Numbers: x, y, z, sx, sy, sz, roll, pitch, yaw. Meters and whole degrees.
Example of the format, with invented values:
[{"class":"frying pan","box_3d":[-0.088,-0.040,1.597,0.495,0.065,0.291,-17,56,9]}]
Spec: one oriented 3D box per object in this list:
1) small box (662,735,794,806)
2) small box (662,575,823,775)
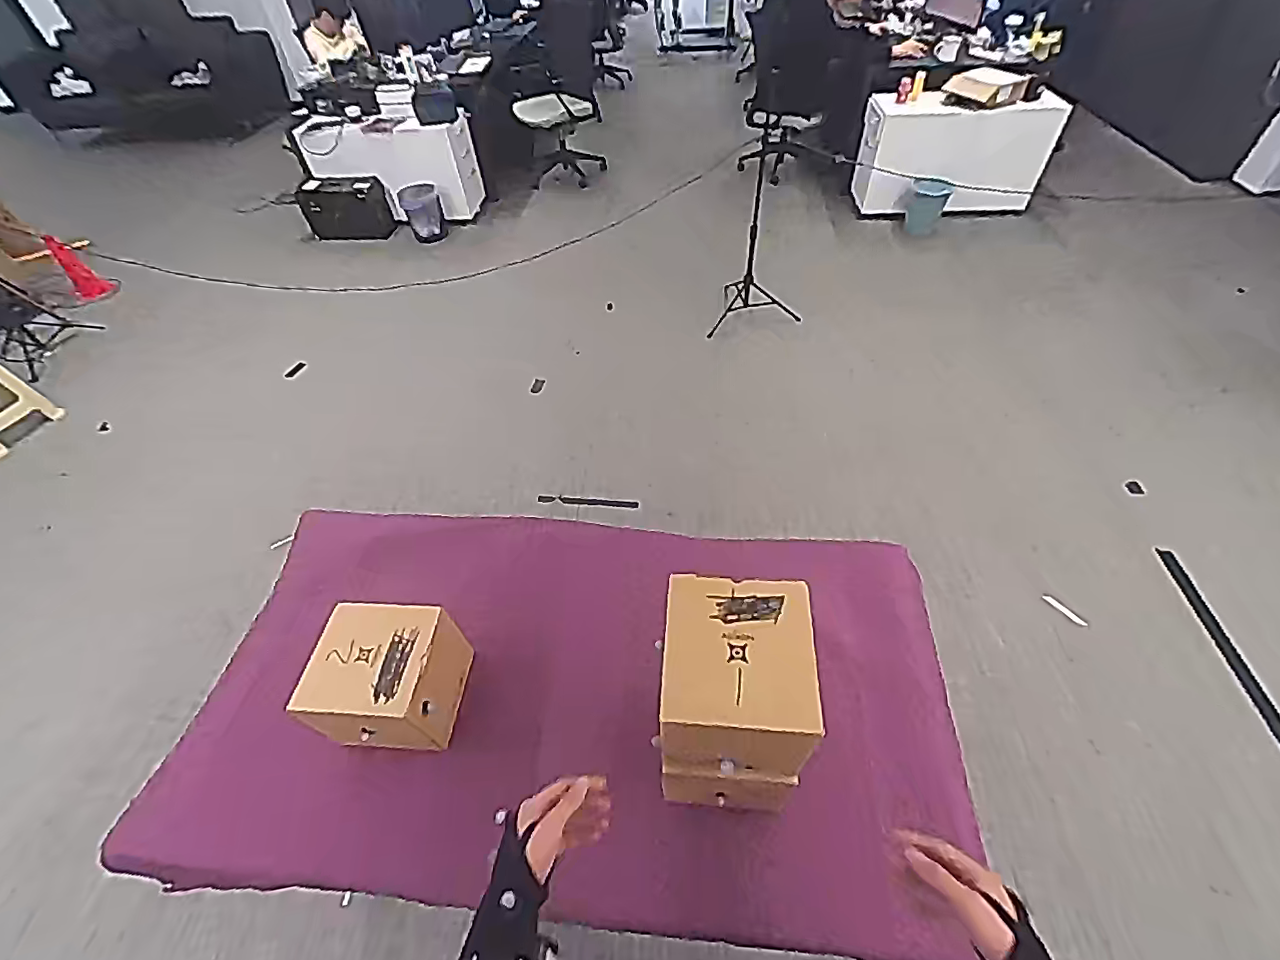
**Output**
[{"class":"small box","box_3d":[0.122,0.353,0.780,0.168,0.176,0.179,2,49,6]},{"class":"small box","box_3d":[0.115,0.239,0.662,0.168,0.176,0.179,2,50,6]}]
